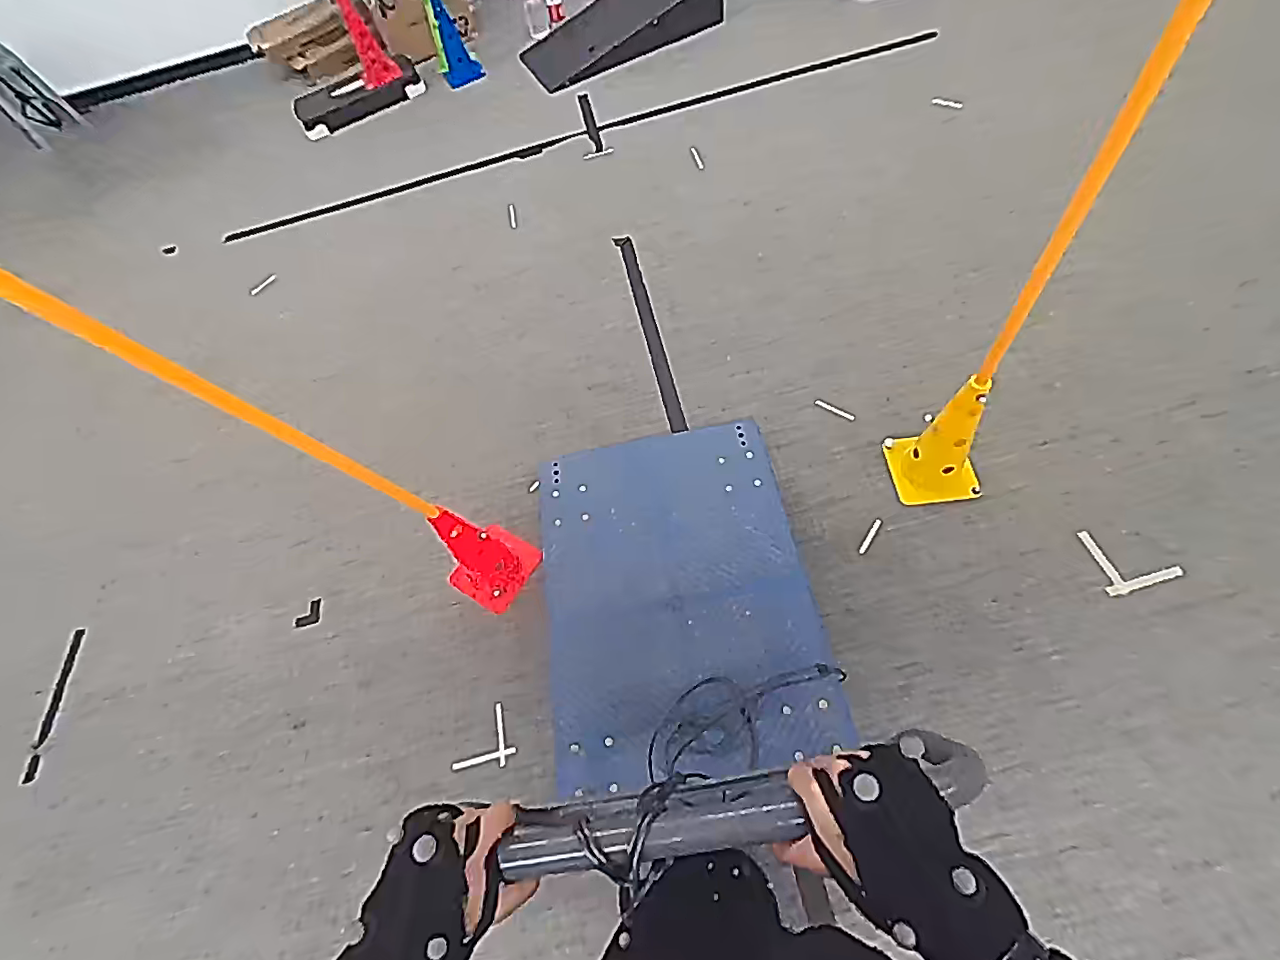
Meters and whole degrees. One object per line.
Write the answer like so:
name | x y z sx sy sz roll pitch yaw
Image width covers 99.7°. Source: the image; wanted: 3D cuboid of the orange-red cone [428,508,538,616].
orange-red cone | -0.418 0.161 1.315 0.198 0.360 0.199 27 67 21
